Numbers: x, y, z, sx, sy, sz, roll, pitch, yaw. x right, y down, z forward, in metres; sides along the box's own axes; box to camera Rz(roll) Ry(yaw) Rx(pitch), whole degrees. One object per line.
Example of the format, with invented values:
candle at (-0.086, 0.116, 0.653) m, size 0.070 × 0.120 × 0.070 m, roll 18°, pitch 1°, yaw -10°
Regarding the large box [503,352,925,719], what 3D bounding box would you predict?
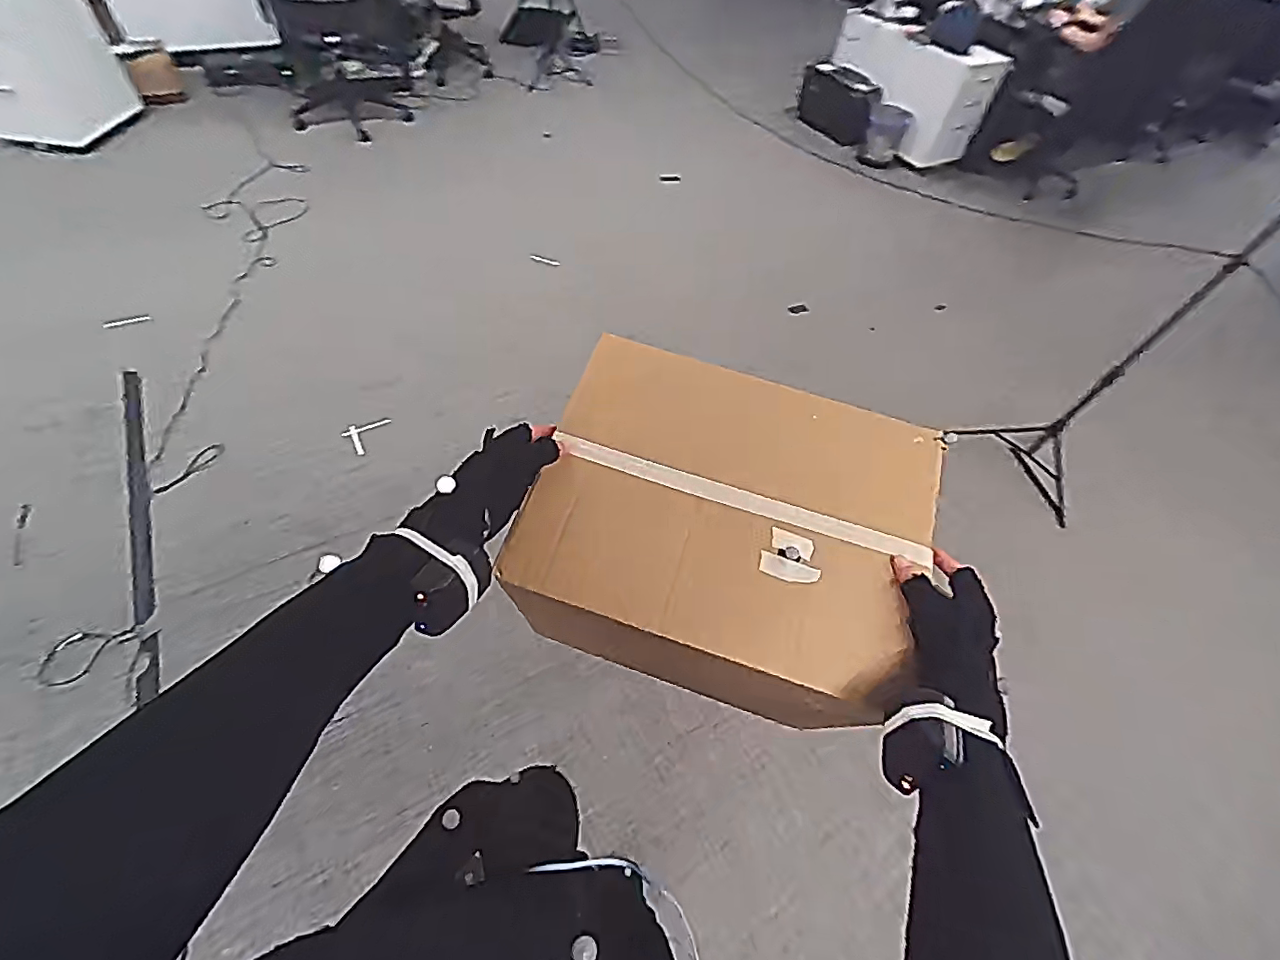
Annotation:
large box at (0.087, 0.092, 0.710) m, size 0.408 × 0.320 × 0.320 m, roll 18°, pitch 66°, yaw 5°
